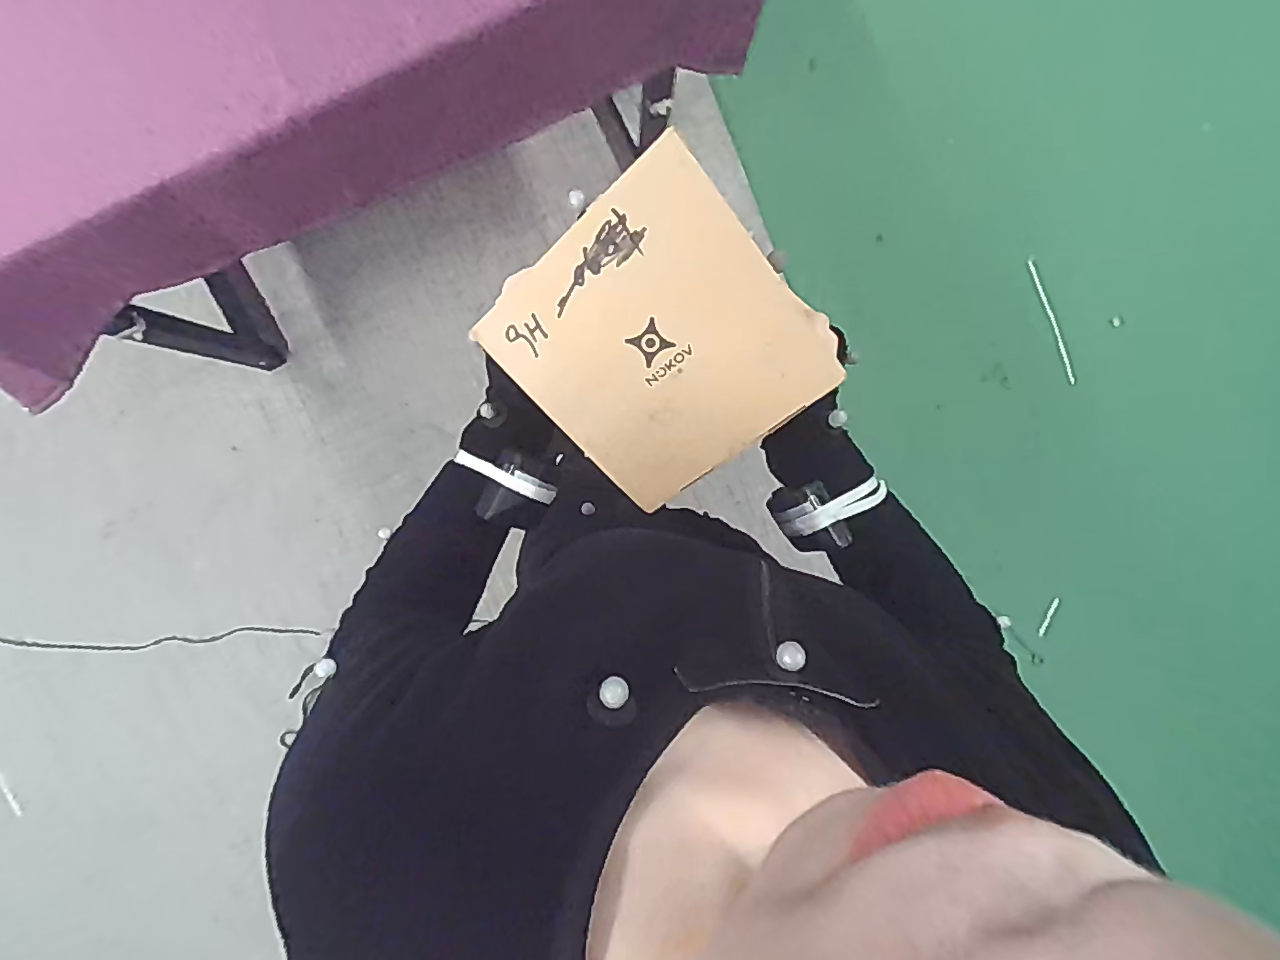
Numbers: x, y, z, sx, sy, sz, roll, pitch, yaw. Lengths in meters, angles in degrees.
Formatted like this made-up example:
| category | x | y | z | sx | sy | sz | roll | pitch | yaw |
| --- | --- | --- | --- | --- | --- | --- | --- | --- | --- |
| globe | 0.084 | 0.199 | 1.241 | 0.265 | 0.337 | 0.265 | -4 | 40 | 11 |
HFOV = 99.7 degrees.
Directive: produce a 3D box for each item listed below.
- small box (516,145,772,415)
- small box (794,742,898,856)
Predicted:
| category | x | y | z | sx | sy | sz | roll | pitch | yaw |
| --- | --- | --- | --- | --- | --- | --- | --- | --- | --- |
| small box | 0.010 | -0.201 | 0.550 | 0.179 | 0.176 | 0.168 | -34 | 112 | 20 |
| small box | 0.557 | 0.866 | 1.487 | 0.179 | 0.176 | 0.168 | -35 | 94 | 1 |
